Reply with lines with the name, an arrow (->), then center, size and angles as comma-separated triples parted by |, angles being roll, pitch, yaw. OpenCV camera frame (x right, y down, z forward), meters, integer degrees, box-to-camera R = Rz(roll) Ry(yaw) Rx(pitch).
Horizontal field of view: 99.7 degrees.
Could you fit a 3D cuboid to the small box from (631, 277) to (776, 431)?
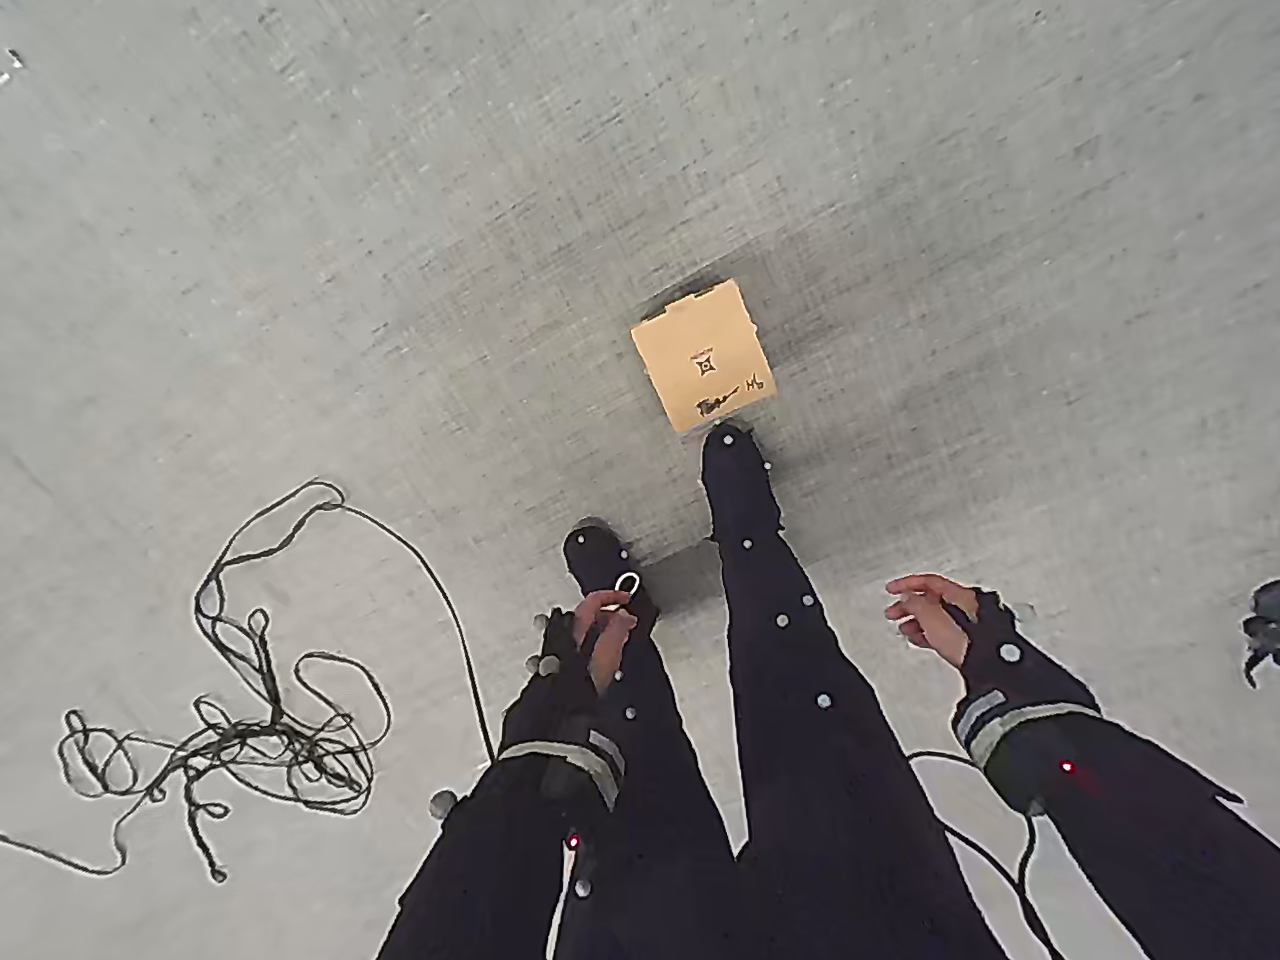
small box -> 0.098, -0.201, 0.862 | 0.168, 0.176, 0.179 | -23, 105, 11
